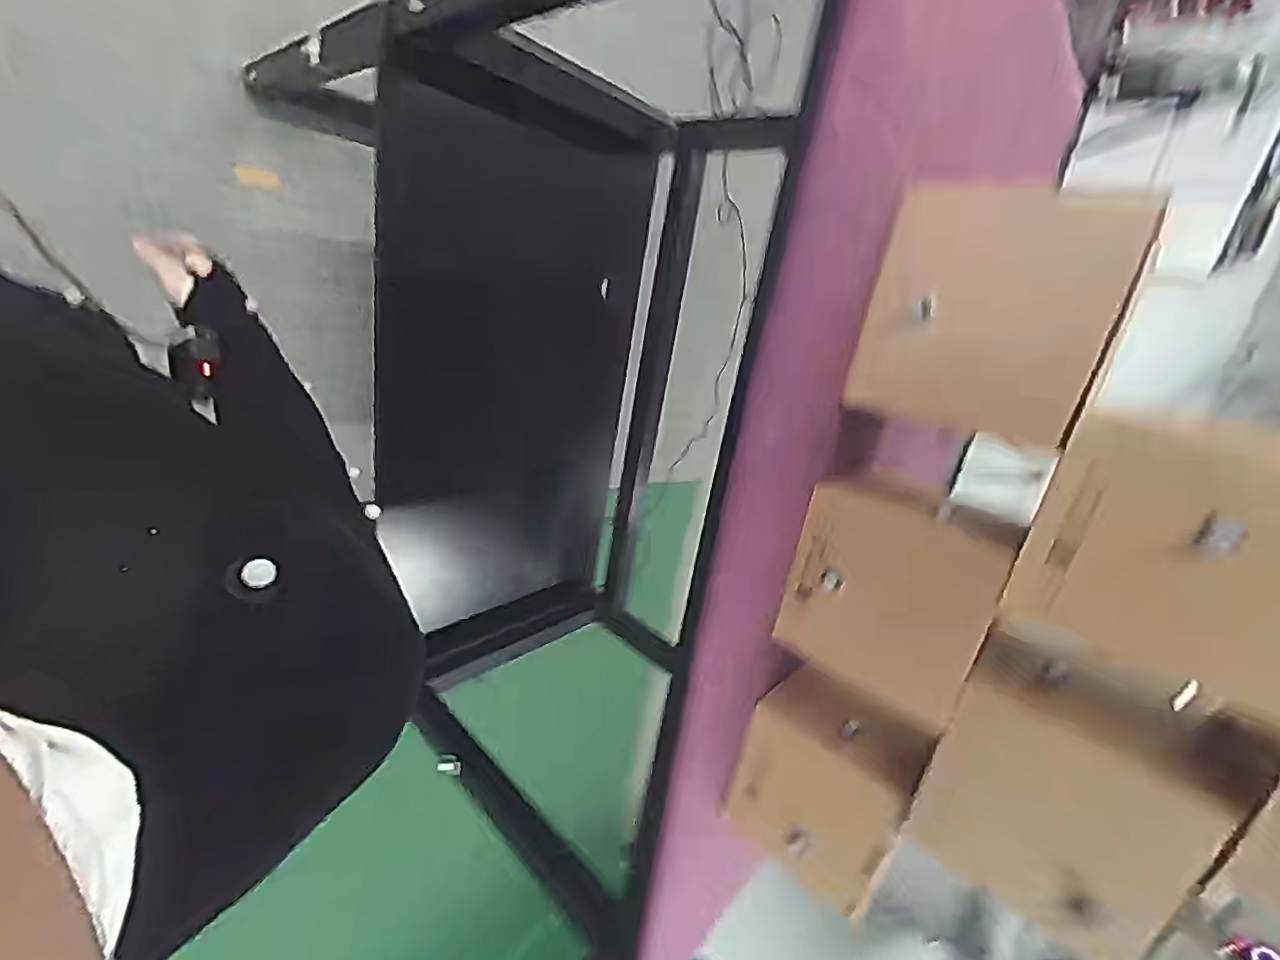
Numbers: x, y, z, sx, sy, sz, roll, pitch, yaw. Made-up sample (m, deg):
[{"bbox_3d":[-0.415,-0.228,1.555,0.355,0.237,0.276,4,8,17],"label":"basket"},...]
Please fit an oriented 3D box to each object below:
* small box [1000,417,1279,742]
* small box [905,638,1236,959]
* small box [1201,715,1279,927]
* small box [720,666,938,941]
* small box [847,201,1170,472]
[{"bbox_3d":[0.396,0.053,0.404,0.179,0.176,0.168,-9,115,-48],"label":"small box"},{"bbox_3d":[0.357,0.274,0.477,0.168,0.176,0.179,-9,116,-49],"label":"small box"},{"bbox_3d":[0.497,0.212,0.340,0.168,0.176,0.179,-11,117,-48],"label":"small box"},{"bbox_3d":[0.216,0.348,0.623,0.179,0.176,0.168,-6,114,-50],"label":"small box"},{"bbox_3d":[0.301,-0.122,0.464,0.168,0.176,0.179,-10,118,-48],"label":"small box"}]
